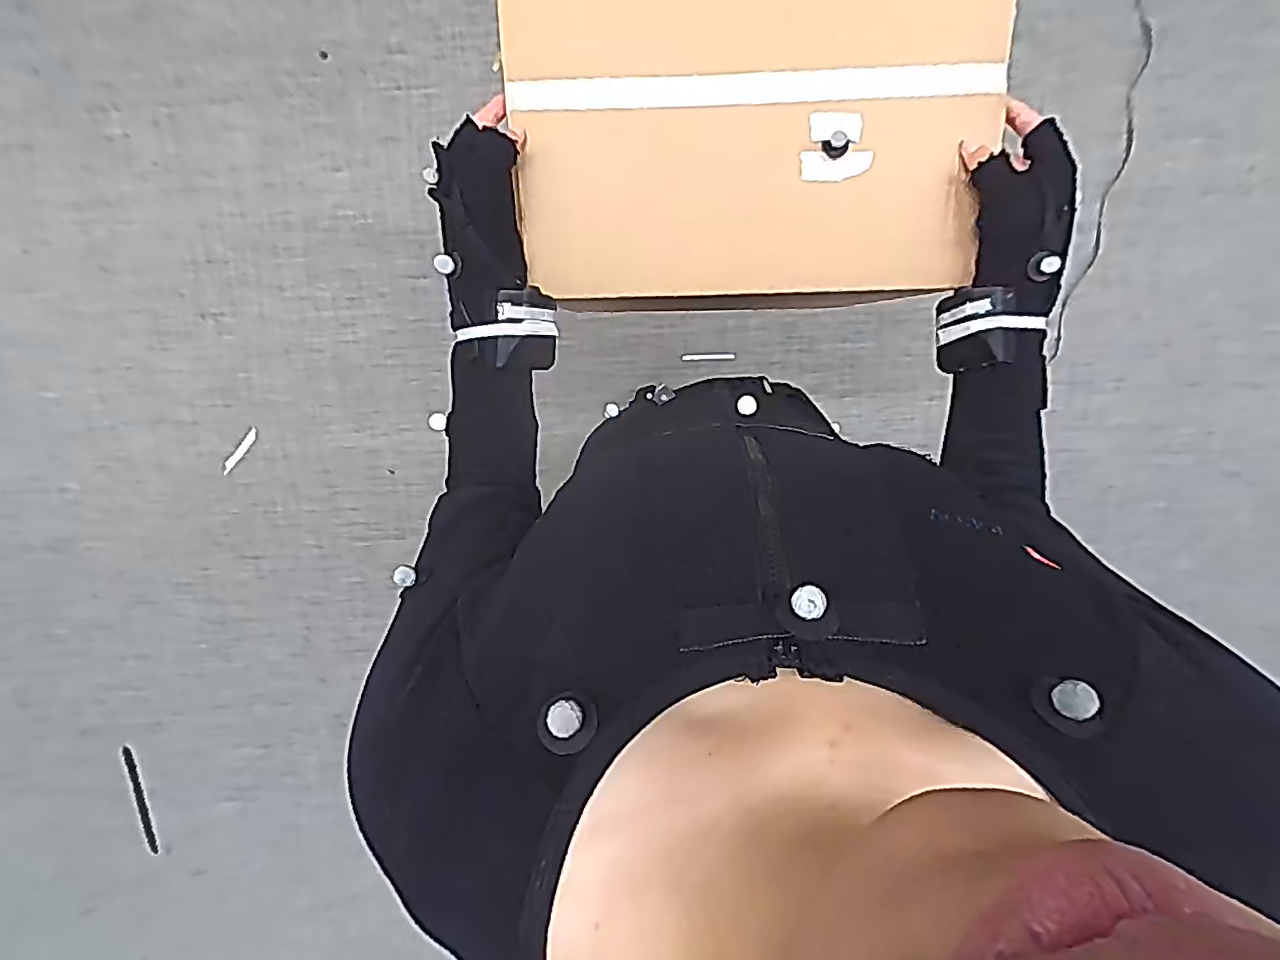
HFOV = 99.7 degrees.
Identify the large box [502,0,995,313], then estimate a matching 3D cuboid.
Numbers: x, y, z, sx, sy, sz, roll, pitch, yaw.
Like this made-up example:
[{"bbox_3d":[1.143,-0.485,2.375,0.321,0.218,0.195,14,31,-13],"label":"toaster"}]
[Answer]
[{"bbox_3d":[0.088,-0.361,0.597,0.408,0.320,0.320,-1,105,0],"label":"large box"}]
